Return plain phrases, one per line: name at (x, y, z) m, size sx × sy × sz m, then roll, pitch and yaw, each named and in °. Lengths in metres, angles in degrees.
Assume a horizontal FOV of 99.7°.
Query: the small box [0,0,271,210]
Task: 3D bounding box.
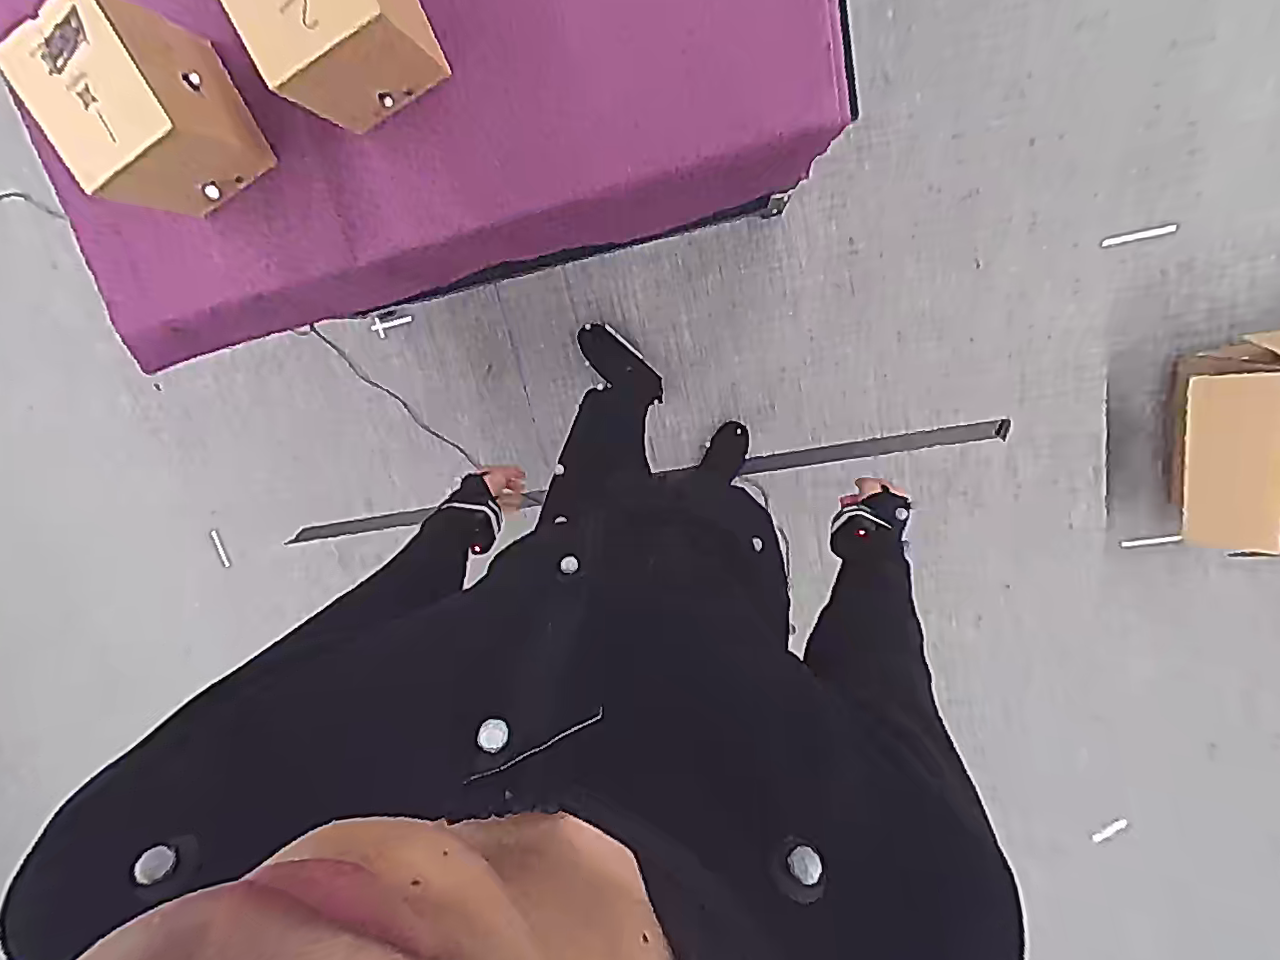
small box at (-0.654, -0.491, 0.719) m, size 0.168 × 0.176 × 0.179 m, roll -23°, pitch 103°, yaw 15°
